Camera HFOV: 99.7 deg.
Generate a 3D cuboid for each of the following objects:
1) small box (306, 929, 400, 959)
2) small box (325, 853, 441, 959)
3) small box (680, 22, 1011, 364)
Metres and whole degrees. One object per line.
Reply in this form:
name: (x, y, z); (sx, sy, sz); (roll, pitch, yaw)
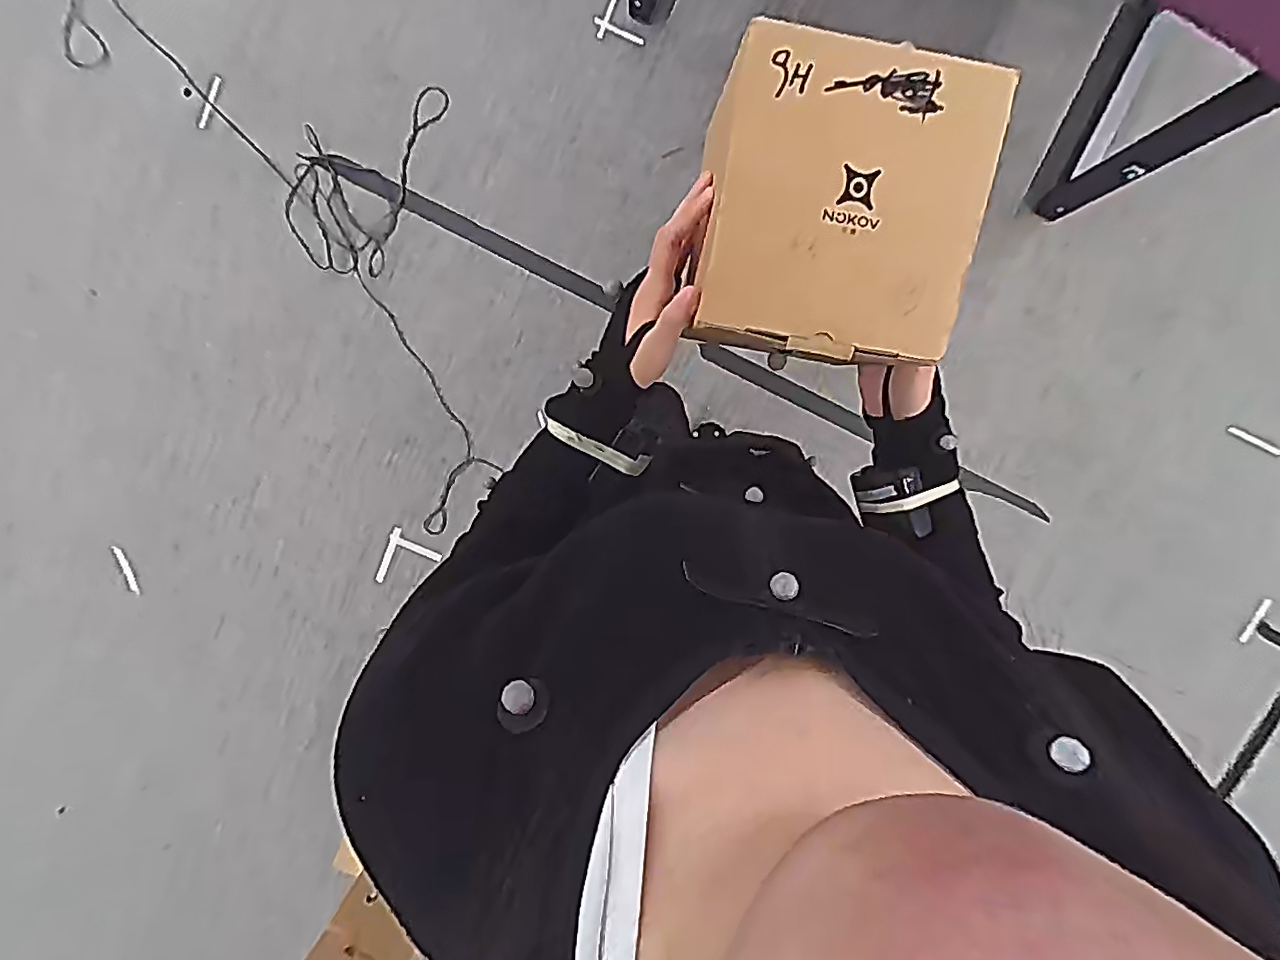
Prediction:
small box: (-0.526, 0.927, 0.918); (0.168, 0.176, 0.179); (18, 97, 1)
small box: (-0.522, 0.903, 1.081); (0.168, 0.176, 0.179); (22, 98, 1)
small box: (0.129, -0.192, 0.418); (0.168, 0.176, 0.179); (8, 102, -4)
